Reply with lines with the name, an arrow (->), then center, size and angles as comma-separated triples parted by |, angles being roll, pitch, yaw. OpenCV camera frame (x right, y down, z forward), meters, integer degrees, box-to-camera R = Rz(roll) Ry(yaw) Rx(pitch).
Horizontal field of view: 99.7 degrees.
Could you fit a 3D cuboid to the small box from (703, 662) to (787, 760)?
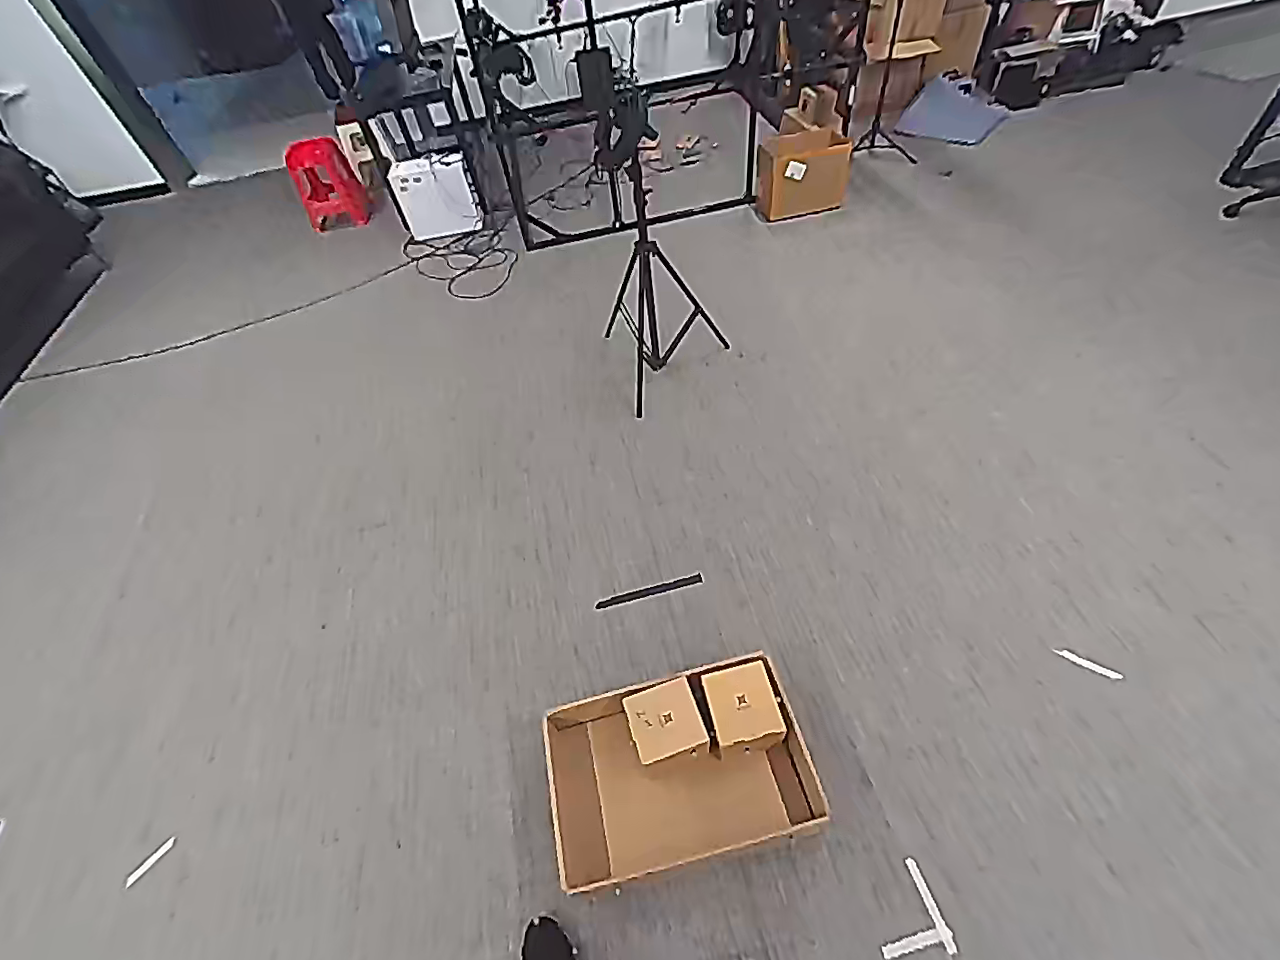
small box -> 0.263, 0.600, 1.399 | 0.168, 0.176, 0.179 | -14, 53, -2
